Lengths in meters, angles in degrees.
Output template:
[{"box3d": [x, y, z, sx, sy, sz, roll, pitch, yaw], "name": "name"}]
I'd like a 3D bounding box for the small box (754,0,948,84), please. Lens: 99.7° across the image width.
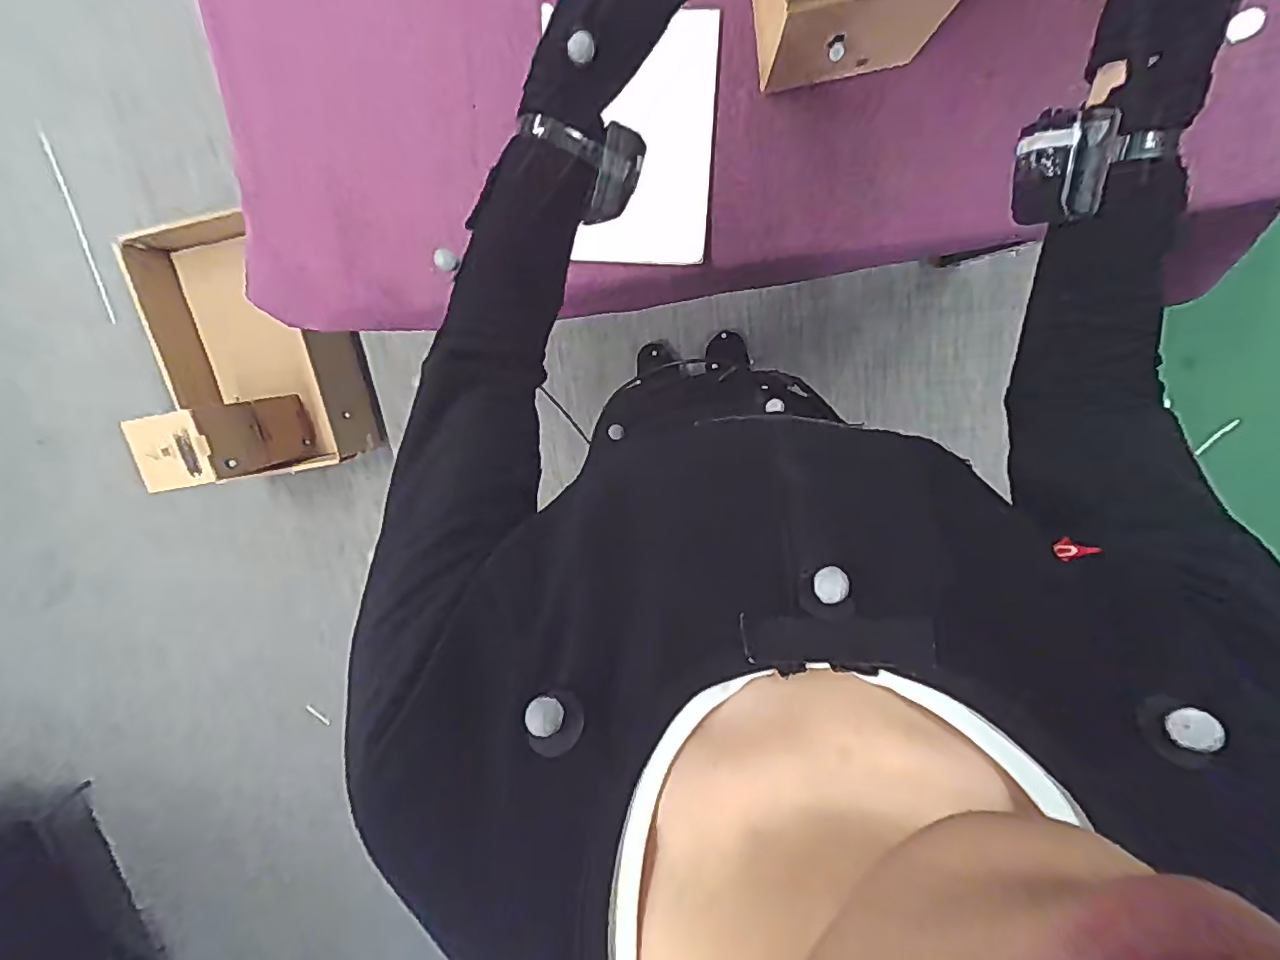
[{"box3d": [0.200, -0.513, 0.512, 0.168, 0.176, 0.179, -8, 103, 7], "name": "small box"}]
